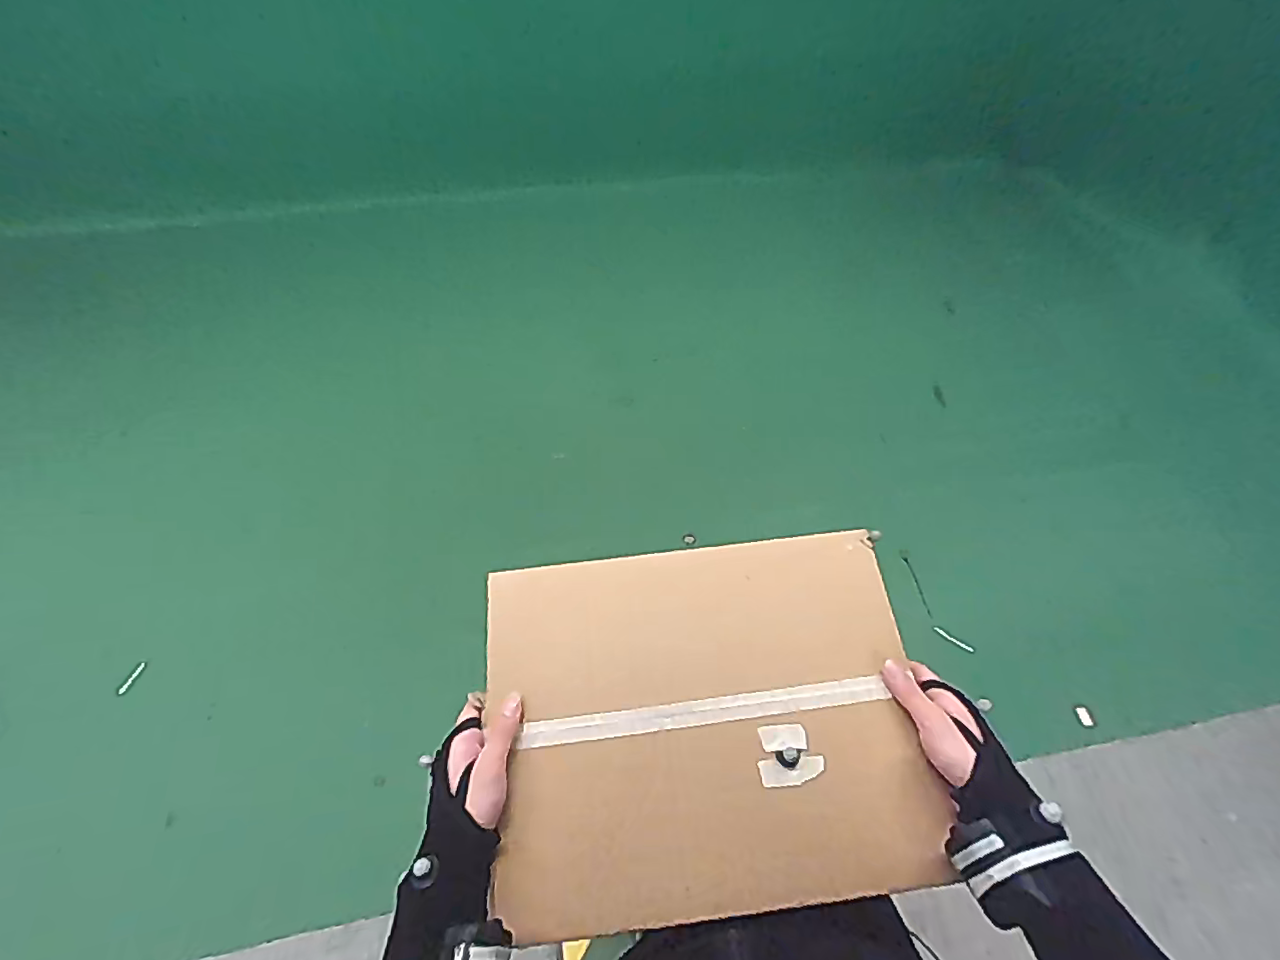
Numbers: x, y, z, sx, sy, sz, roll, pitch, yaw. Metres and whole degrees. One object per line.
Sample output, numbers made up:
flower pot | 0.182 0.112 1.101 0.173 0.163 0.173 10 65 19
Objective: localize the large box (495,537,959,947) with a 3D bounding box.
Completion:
large box | 0.061 0.288 0.653 0.408 0.320 0.320 -6 65 -3
